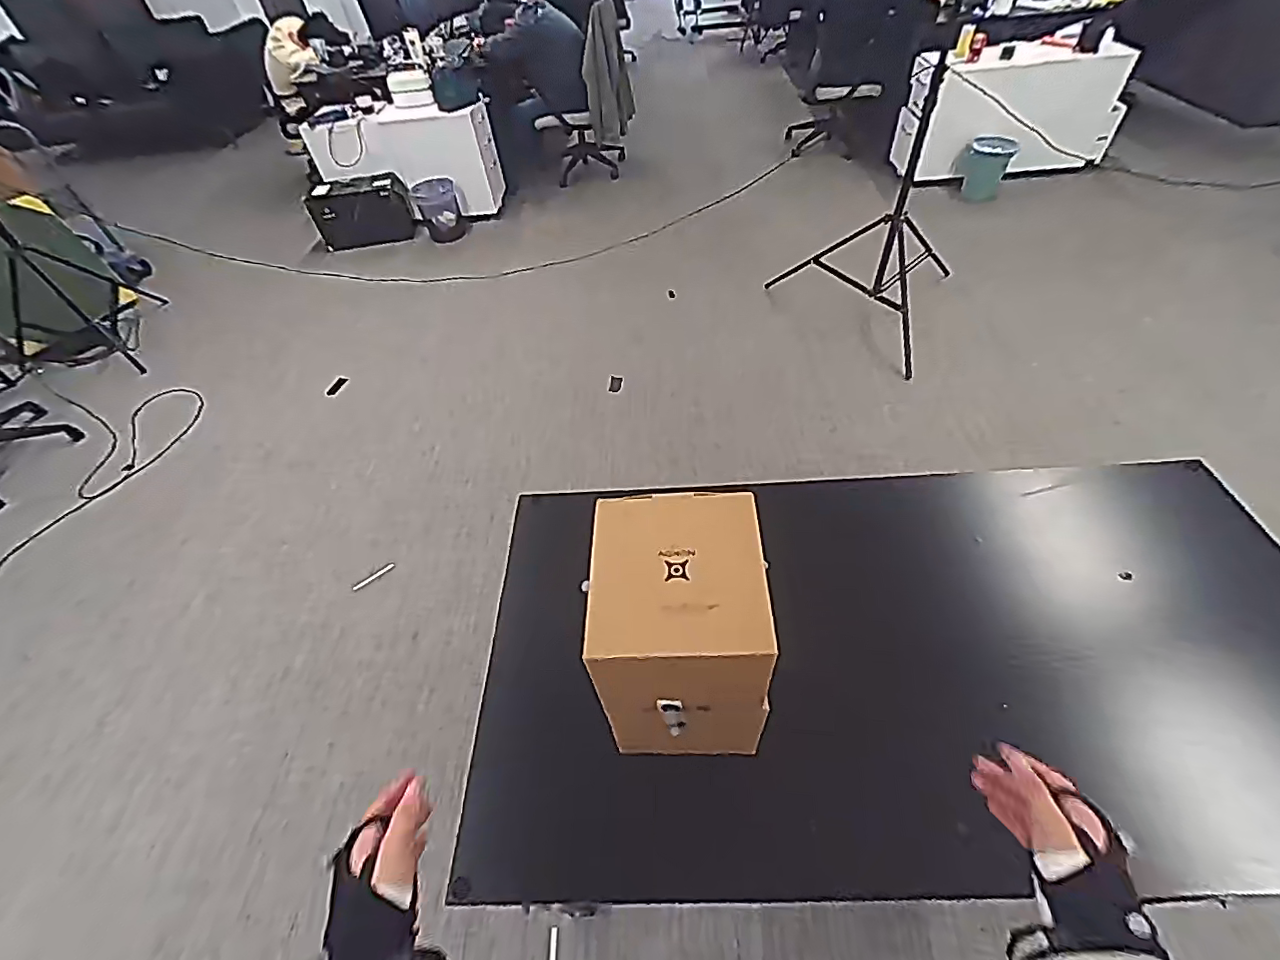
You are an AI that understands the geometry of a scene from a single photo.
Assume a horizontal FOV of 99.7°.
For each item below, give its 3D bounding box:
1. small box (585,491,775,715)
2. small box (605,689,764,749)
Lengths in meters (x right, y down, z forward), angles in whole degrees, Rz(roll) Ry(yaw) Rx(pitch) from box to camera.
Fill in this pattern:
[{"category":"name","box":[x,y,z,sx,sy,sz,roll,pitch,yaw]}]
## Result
[{"category":"small box","box":[0.041,0.133,0.574,0.168,0.176,0.179,-4,50,5]},{"category":"small box","box":[0.056,0.238,0.697,0.179,0.176,0.168,-1,49,3]}]
